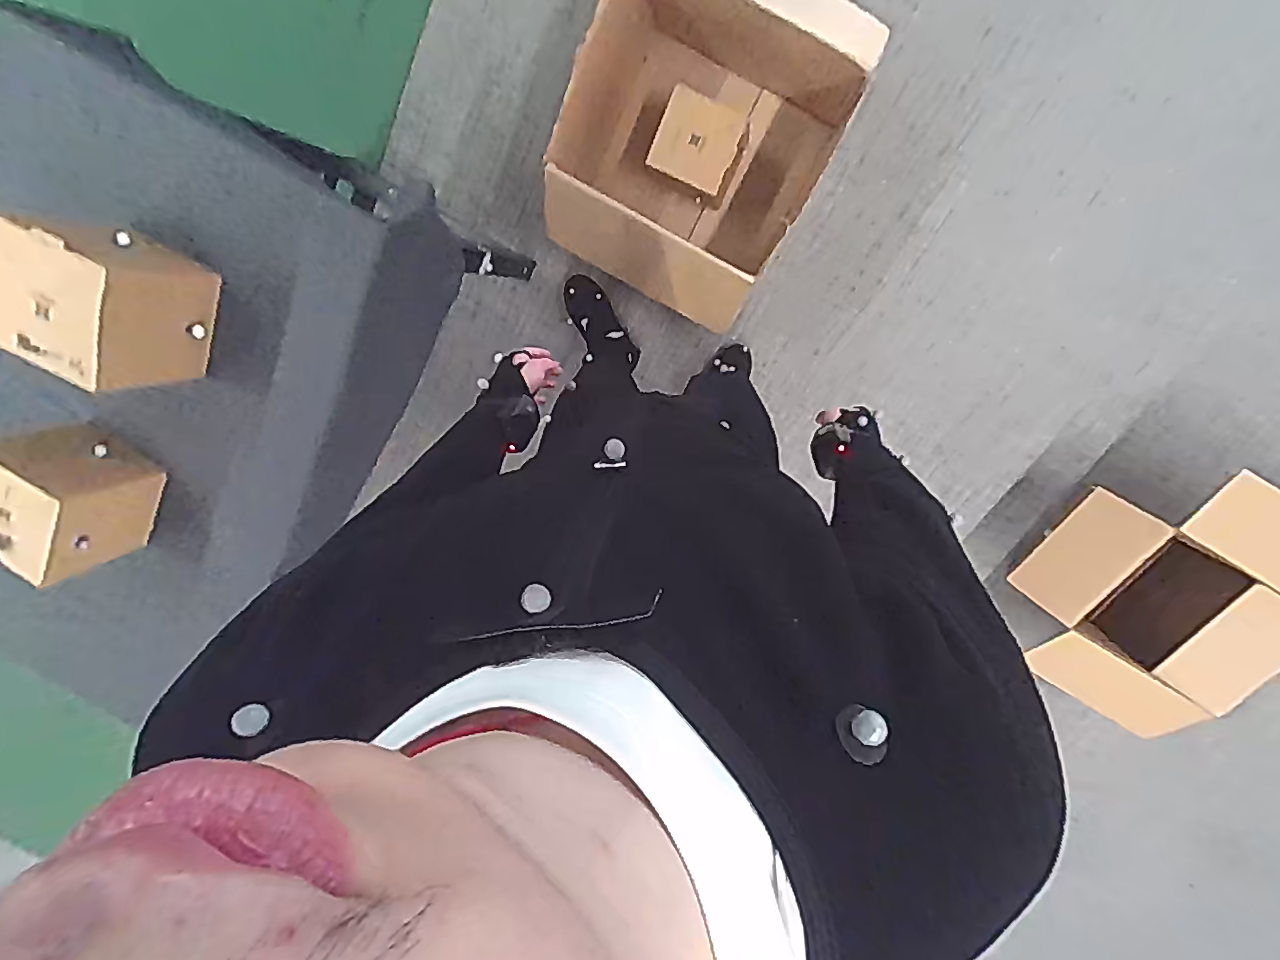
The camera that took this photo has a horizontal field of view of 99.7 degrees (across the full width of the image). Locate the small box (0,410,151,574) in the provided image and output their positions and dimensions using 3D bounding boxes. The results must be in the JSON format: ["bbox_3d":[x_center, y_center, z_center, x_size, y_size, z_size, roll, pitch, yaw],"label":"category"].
[{"bbox_3d":[-0.959,0.012,0.879,0.168,0.176,0.179,36,110,-6],"label":"small box"}]

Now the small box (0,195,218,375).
[{"bbox_3d":[-0.754,-0.274,0.776,0.168,0.176,0.179,24,110,-2],"label":"small box"}]
